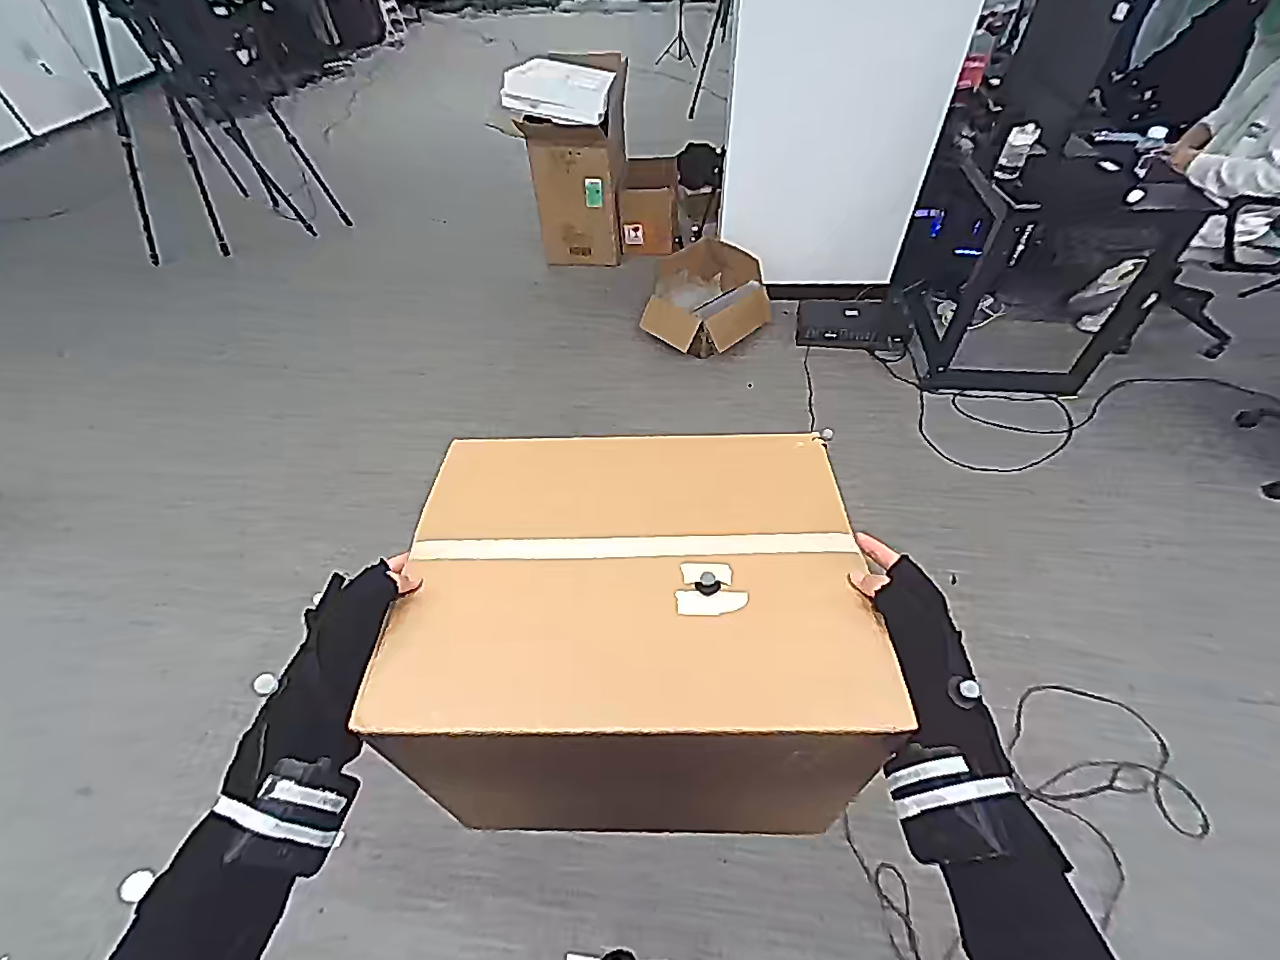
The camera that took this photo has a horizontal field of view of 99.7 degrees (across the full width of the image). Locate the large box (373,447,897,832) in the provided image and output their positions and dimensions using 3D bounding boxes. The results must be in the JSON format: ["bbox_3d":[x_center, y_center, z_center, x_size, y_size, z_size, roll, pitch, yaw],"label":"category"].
[{"bbox_3d":[-0.003,0.180,0.611,0.408,0.320,0.320,-1,46,2],"label":"large box"}]
